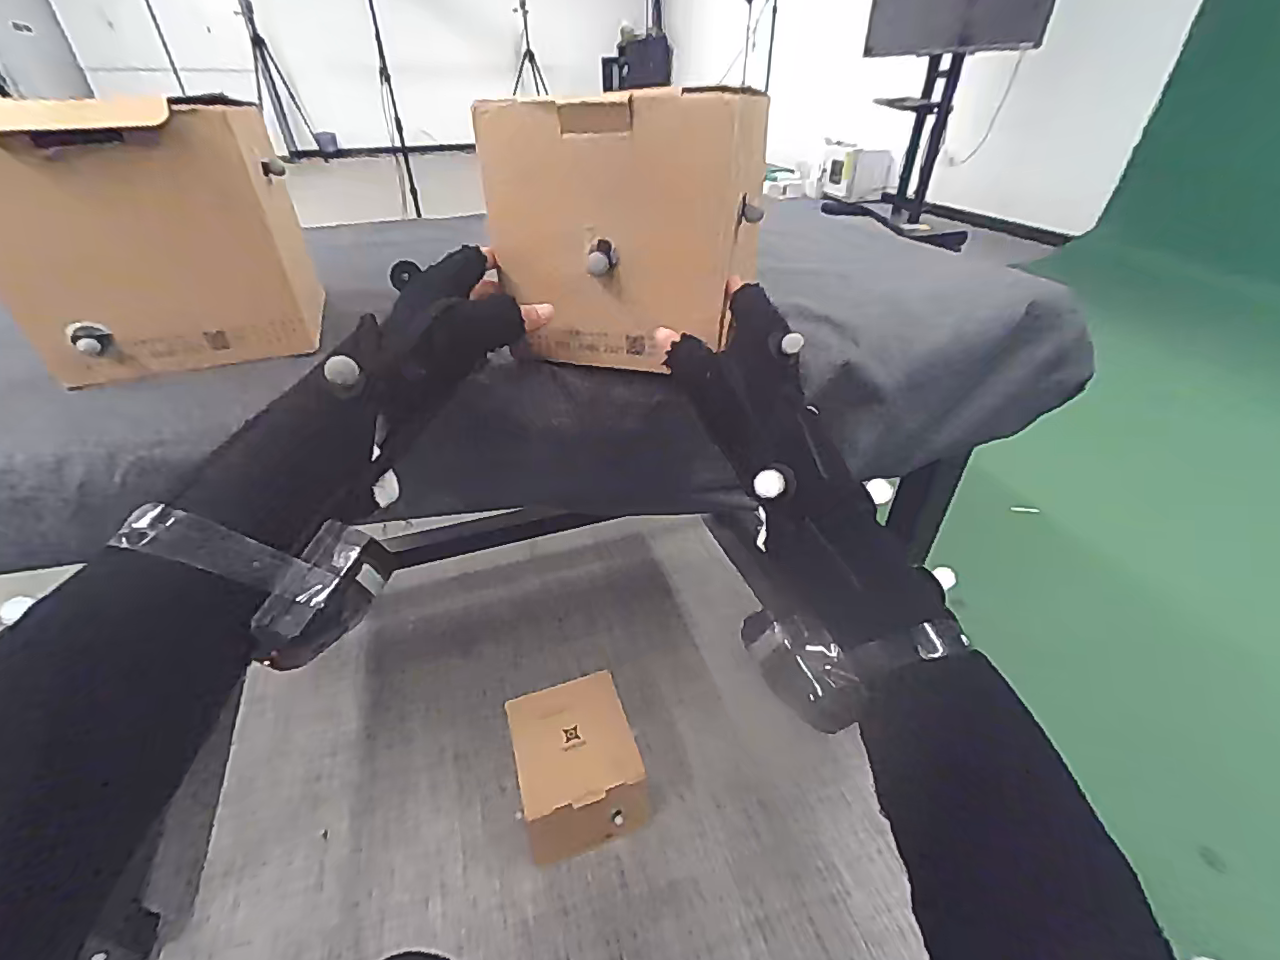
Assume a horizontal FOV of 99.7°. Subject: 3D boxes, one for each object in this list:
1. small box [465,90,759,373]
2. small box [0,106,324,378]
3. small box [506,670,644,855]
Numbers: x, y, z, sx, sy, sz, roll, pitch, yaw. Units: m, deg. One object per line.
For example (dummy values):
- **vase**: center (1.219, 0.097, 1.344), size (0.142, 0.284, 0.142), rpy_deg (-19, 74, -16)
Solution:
- **small box**: center (-0.004, -0.194, 0.424), size (0.168, 0.176, 0.179), rpy_deg (8, 36, 15)
- **small box**: center (-0.371, -0.191, 0.431), size (0.168, 0.176, 0.179), rpy_deg (-14, 37, -19)
- **small box**: center (-0.096, 0.429, 0.818), size (0.168, 0.176, 0.179), rpy_deg (-12, 37, -17)
